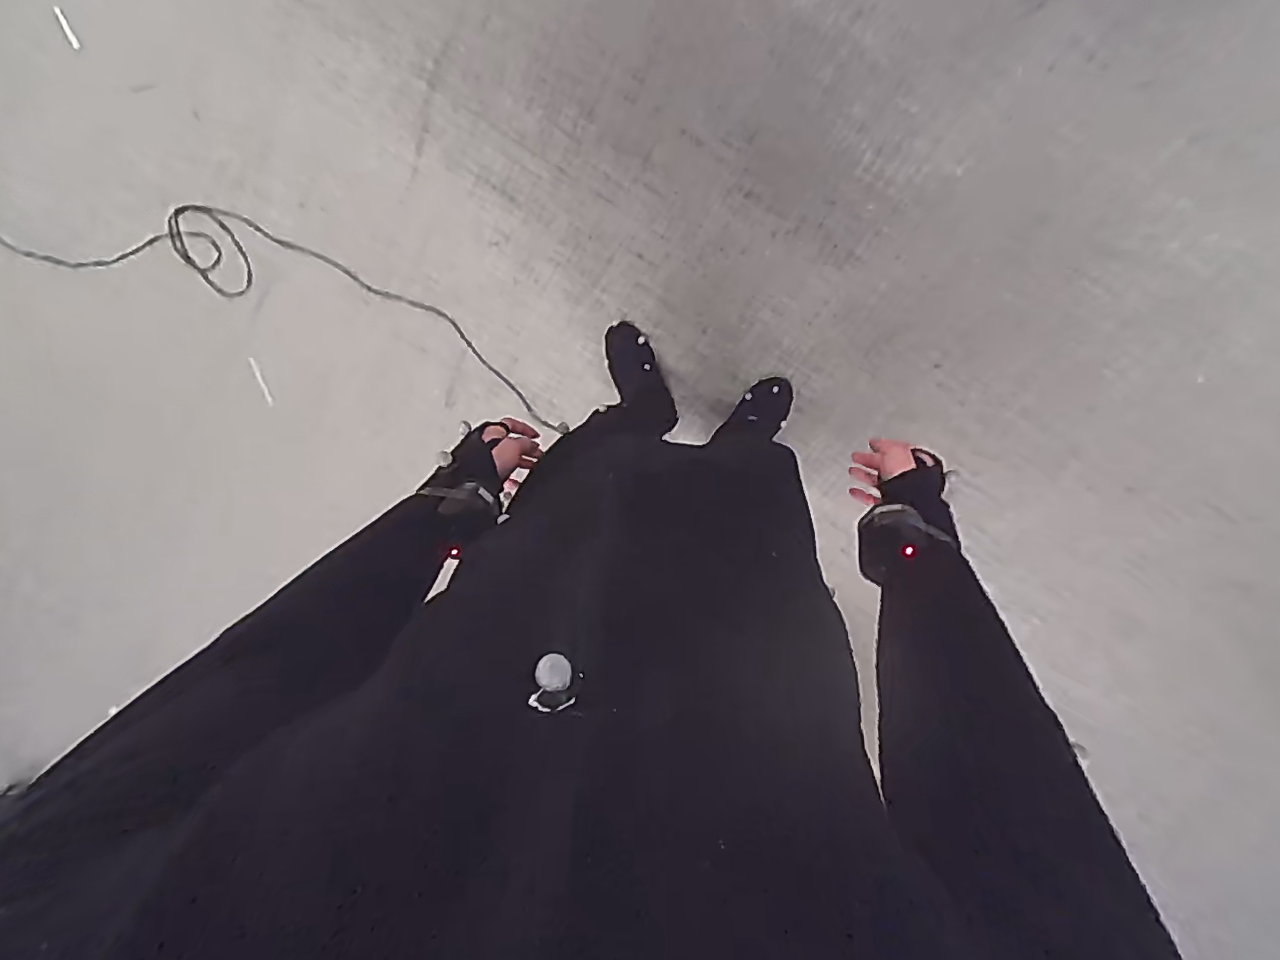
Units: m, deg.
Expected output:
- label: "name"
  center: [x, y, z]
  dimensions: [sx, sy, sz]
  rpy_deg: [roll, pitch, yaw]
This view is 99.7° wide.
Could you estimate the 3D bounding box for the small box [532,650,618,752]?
- label: "small box"
  center: [-0.178, 0.627, 1.556]
  dimensions: [0.168, 0.176, 0.179]
  rpy_deg: [36, 110, -3]
